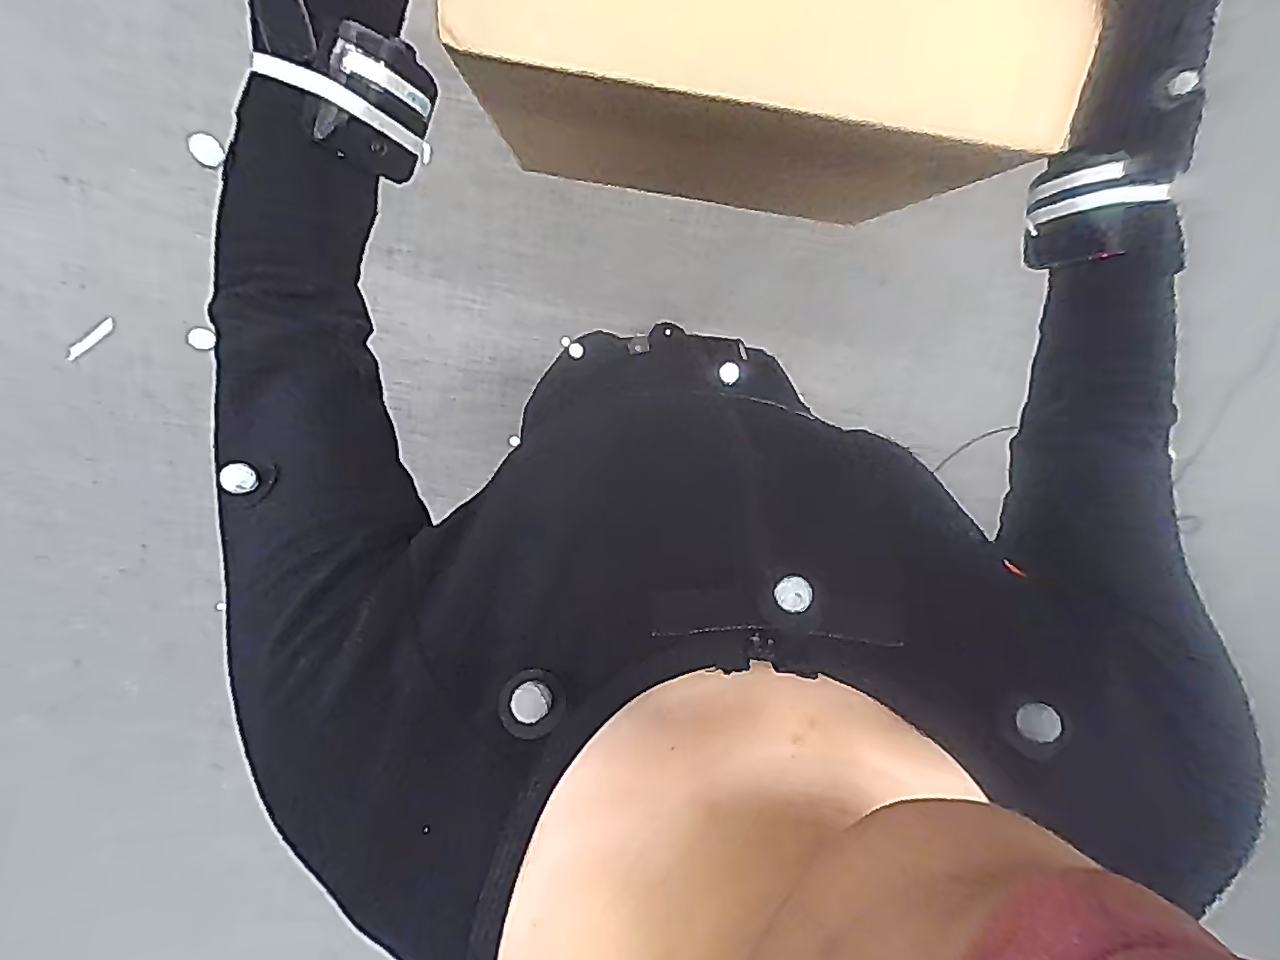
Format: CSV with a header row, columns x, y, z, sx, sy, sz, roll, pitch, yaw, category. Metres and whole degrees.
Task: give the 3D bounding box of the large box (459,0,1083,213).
x,y,z,sx,sy,sz,roll,pitch,yaw,category
0.088,-0.440,0.453,0.408,0.320,0.320,6,107,-6,large box
